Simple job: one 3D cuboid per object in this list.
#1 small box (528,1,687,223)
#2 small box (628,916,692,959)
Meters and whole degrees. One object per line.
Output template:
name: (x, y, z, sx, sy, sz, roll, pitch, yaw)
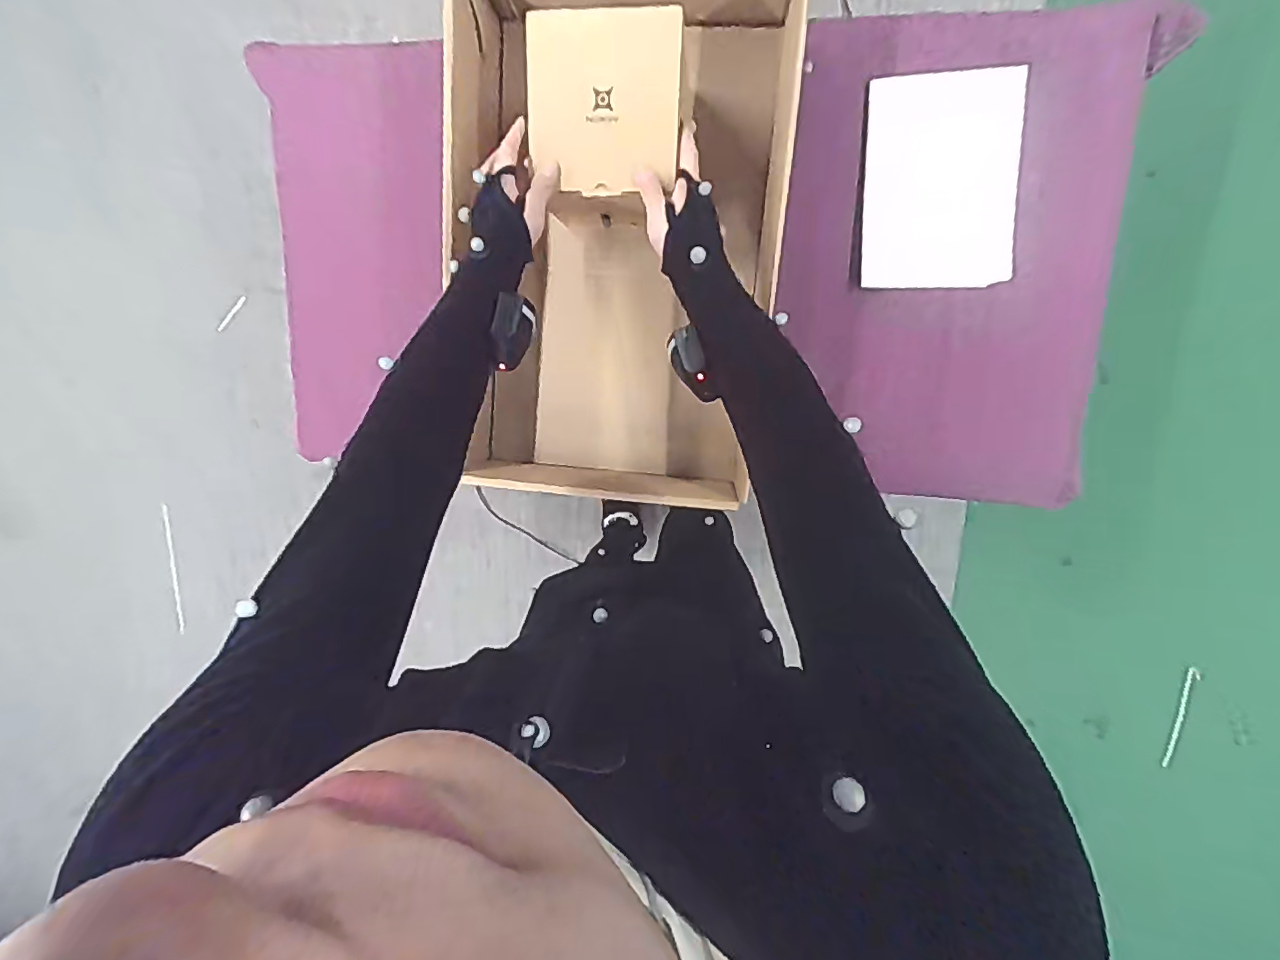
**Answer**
small box: (-0.030, -0.423, 0.650, 0.168, 0.176, 0.179, 3, 105, 6)
small box: (0.064, 1.636, 1.814, 0.168, 0.176, 0.179, 35, 102, -1)
